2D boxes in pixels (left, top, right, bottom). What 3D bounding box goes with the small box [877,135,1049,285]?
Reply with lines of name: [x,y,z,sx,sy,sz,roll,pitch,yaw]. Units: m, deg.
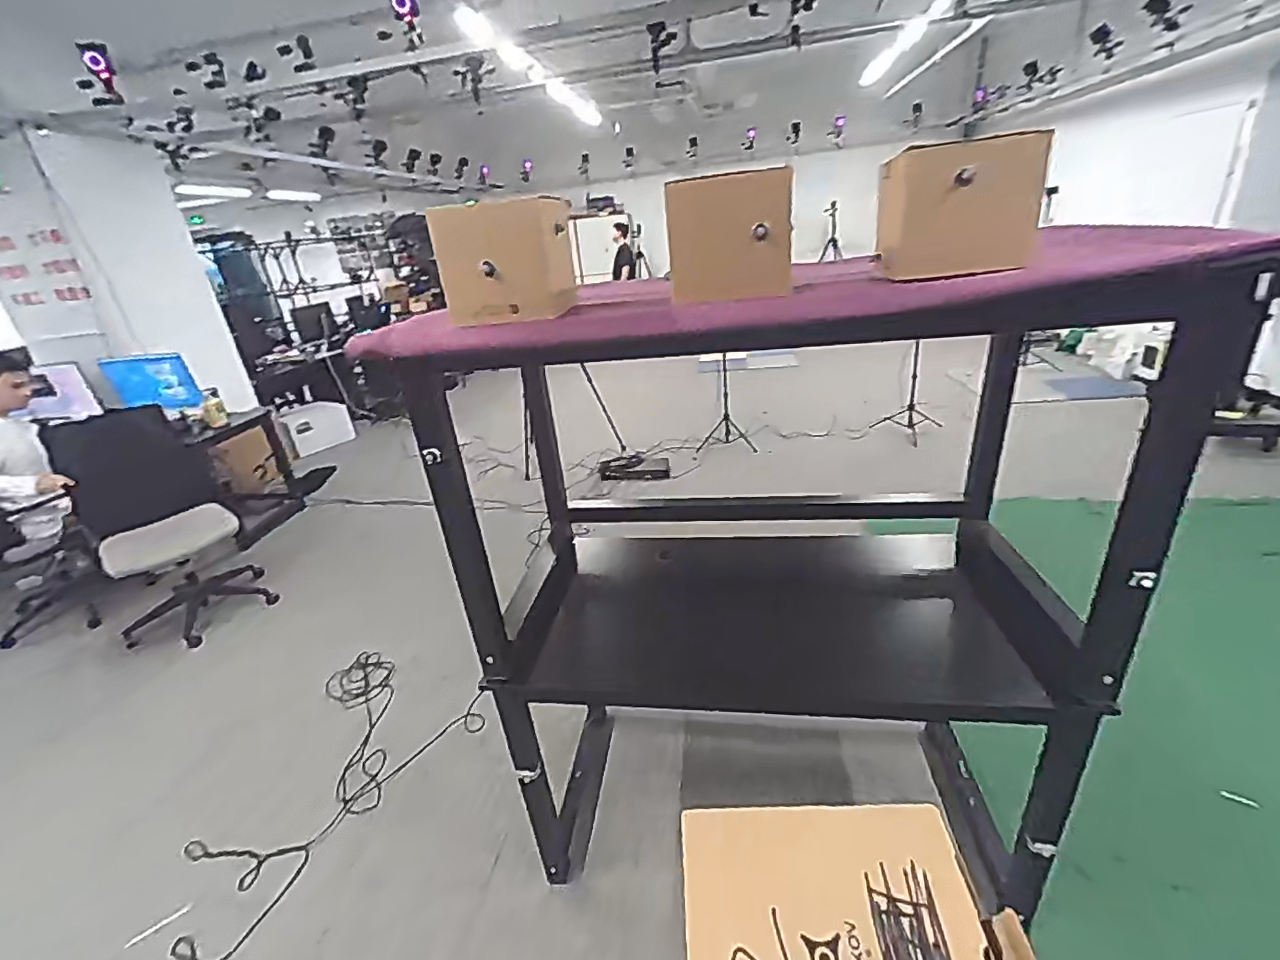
small box: [0.460,-0.386,0.803,0.179,0.176,0.168,-1,22,12]

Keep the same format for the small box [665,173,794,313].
small box: [0.139,-0.363,0.836,0.179,0.176,0.168,-3,24,10]

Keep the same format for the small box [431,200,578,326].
small box: [-0.202,-0.343,0.865,0.168,0.176,0.179,-1,25,8]
